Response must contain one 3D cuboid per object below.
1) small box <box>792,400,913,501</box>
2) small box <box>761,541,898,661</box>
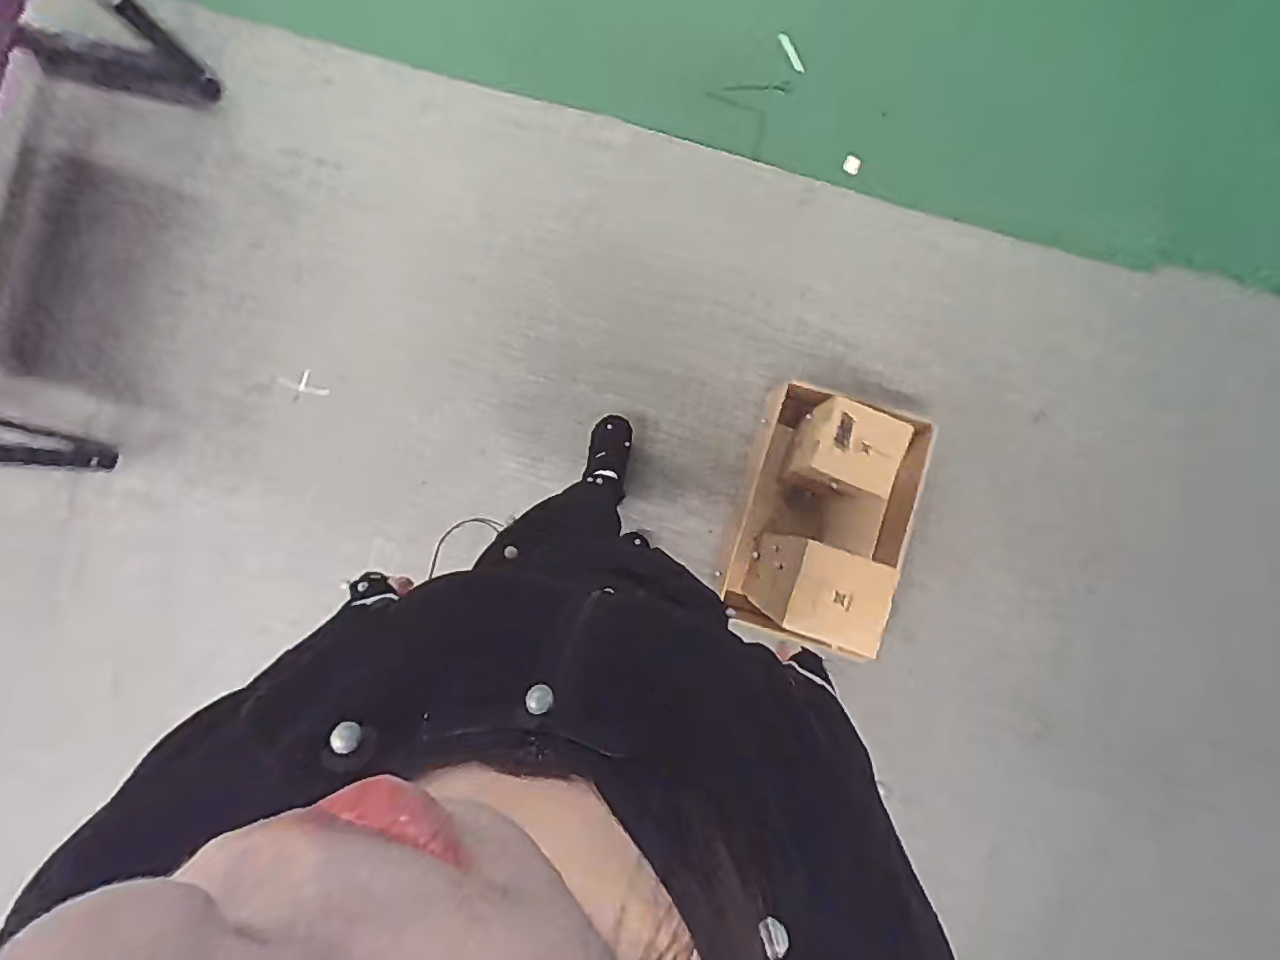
[{"bbox_3d":[0.466,-0.059,1.217,0.179,0.176,0.168,24,88,1],"label":"small box"},{"bbox_3d":[0.355,0.221,1.045,0.179,0.176,0.168,20,87,2],"label":"small box"}]
